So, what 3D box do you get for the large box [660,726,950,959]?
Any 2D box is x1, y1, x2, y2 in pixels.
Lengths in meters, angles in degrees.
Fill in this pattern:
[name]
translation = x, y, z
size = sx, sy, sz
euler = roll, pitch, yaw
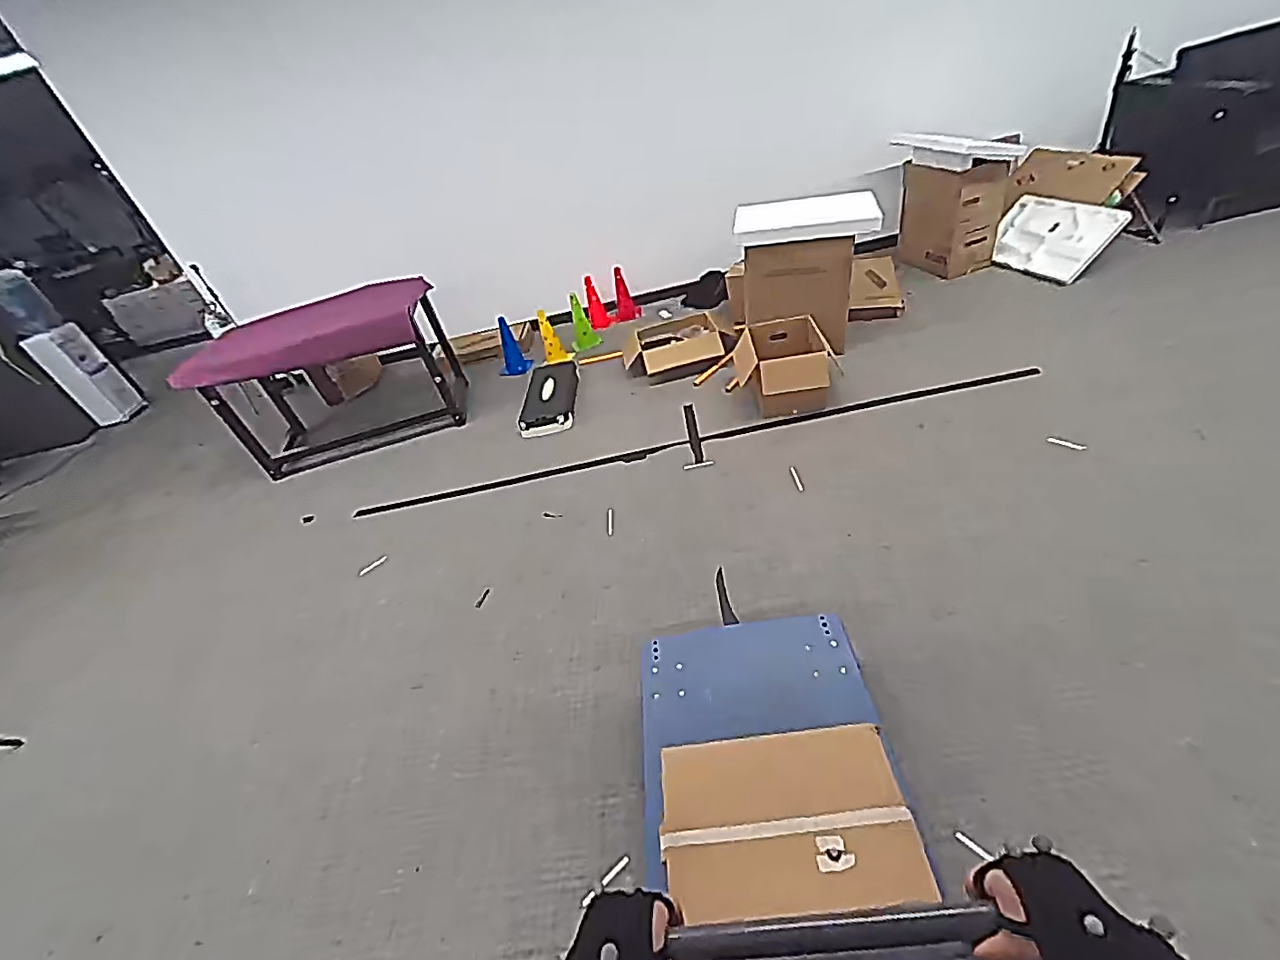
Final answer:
[large box]
translation = 0.264, 0.696, 0.980
size = 0.408, 0.320, 0.320
euler = -10, 39, 5
